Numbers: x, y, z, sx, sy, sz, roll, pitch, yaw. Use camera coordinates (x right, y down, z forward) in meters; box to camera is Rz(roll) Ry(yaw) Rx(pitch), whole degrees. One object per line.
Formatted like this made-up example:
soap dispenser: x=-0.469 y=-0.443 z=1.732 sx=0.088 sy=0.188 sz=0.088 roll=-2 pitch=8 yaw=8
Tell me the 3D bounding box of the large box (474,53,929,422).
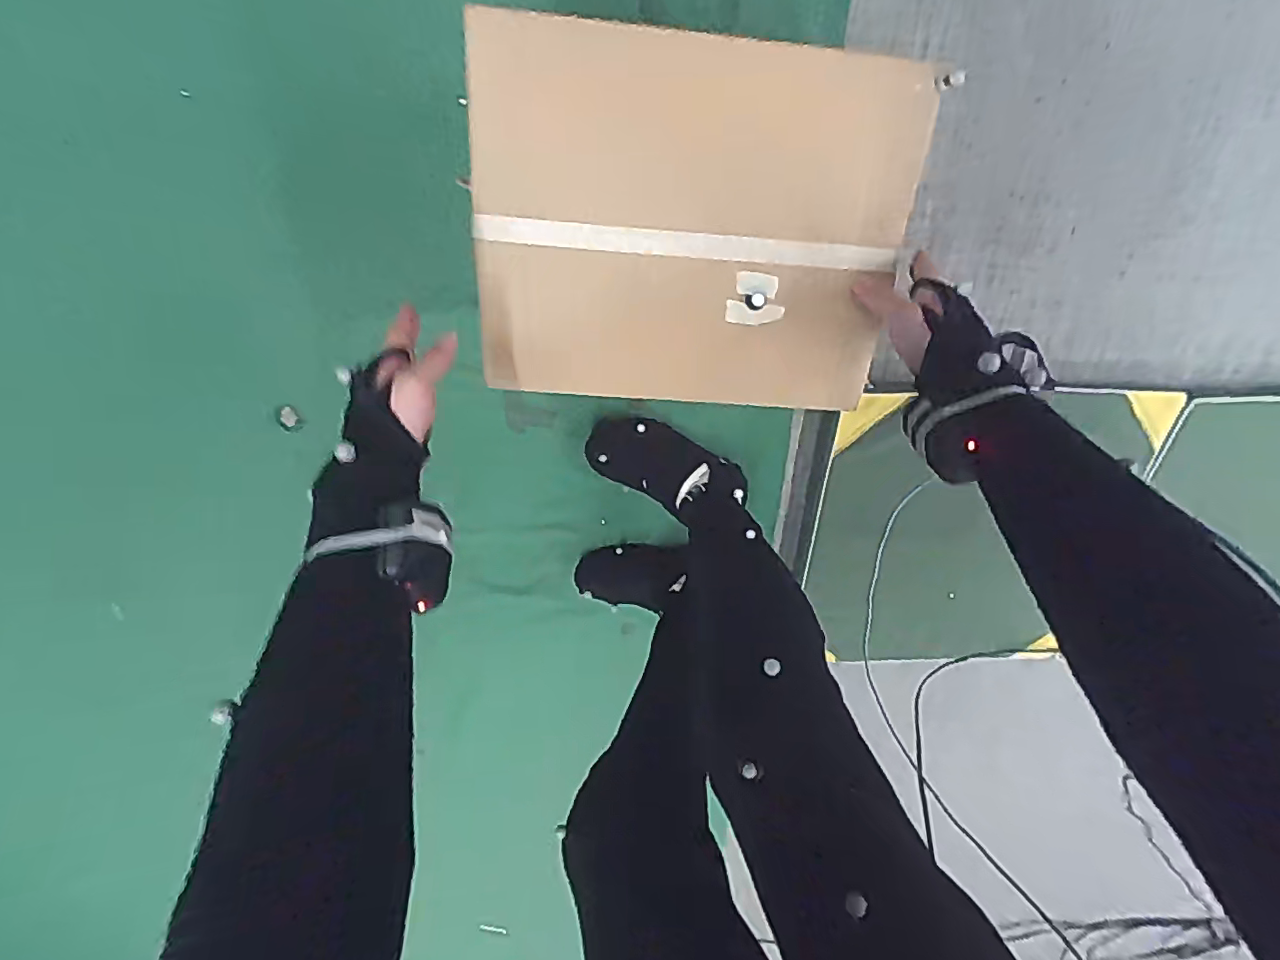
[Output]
large box: x=0.039 y=-0.271 z=0.658 sx=0.408 sy=0.320 sz=0.320 roll=2 pitch=117 yaw=-5
